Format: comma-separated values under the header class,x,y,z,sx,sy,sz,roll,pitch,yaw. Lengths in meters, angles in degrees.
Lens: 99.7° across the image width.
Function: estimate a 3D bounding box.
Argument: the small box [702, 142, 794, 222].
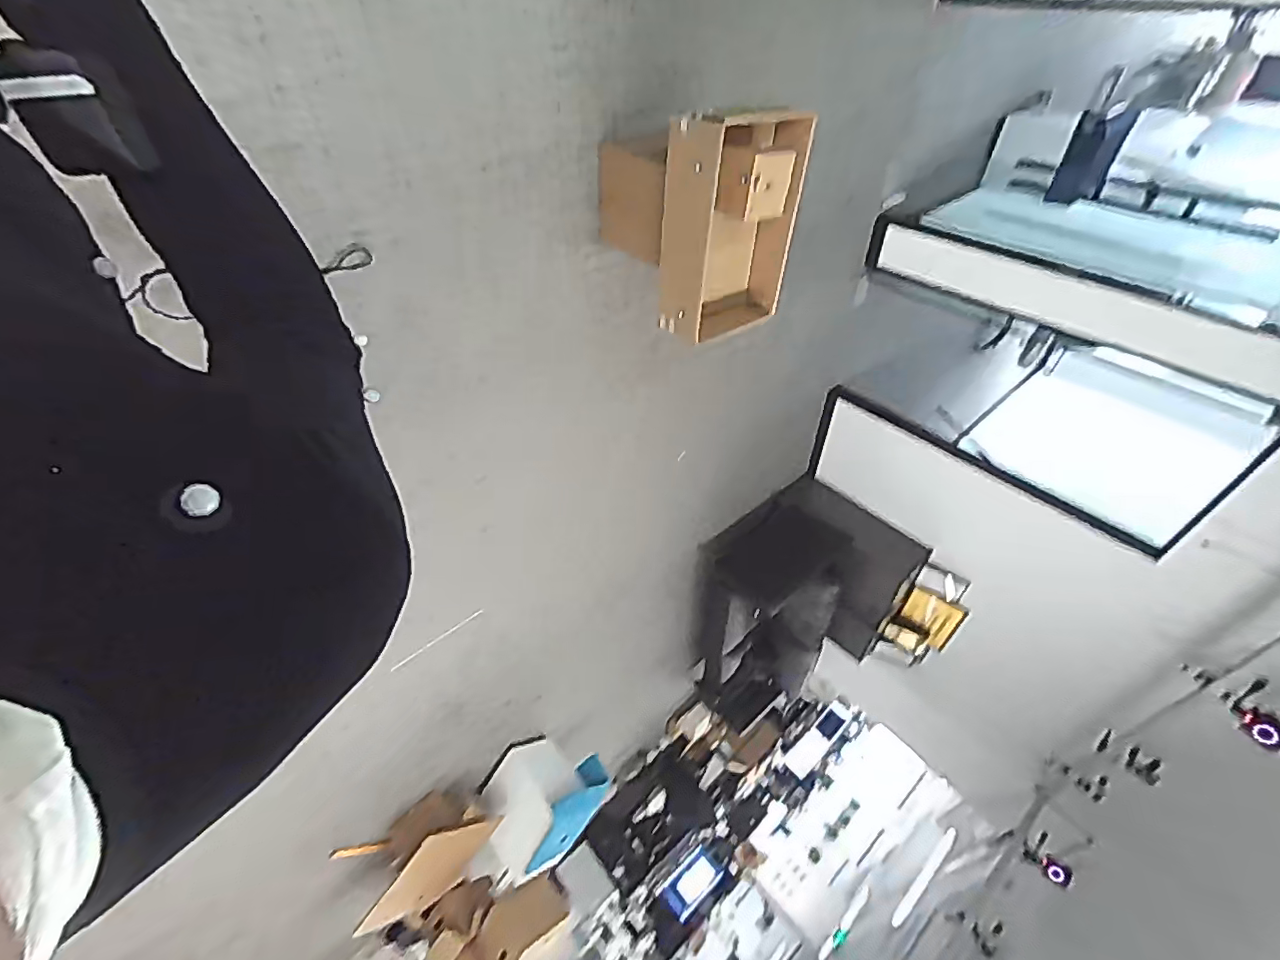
class,x,y,z,sx,sy,sz,roll,pitch,yaw
small box,0.304,-0.856,1.545,0.179,0.176,0.168,-26,139,-32
